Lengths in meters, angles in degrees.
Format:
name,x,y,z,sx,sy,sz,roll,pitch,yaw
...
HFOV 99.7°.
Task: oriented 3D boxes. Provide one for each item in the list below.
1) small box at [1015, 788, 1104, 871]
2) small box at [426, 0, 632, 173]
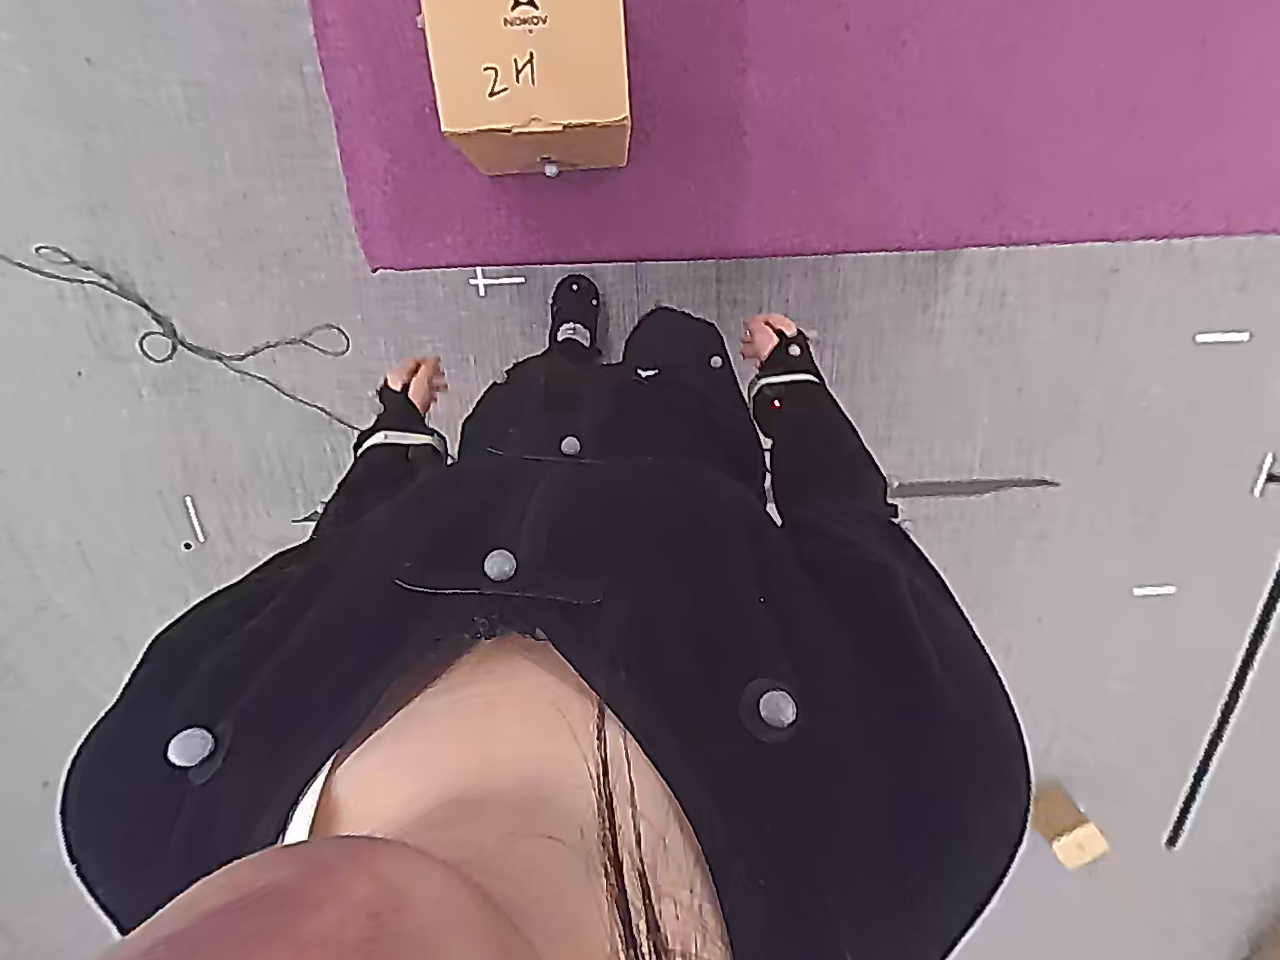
name,x,y,z,sx,sy,sz,roll,pitch,yaw
small box,1.532,1.273,1.985,0.168,0.176,0.179,-38,108,11
small box,-0.097,-0.413,0.518,0.168,0.176,0.179,-4,109,-1
